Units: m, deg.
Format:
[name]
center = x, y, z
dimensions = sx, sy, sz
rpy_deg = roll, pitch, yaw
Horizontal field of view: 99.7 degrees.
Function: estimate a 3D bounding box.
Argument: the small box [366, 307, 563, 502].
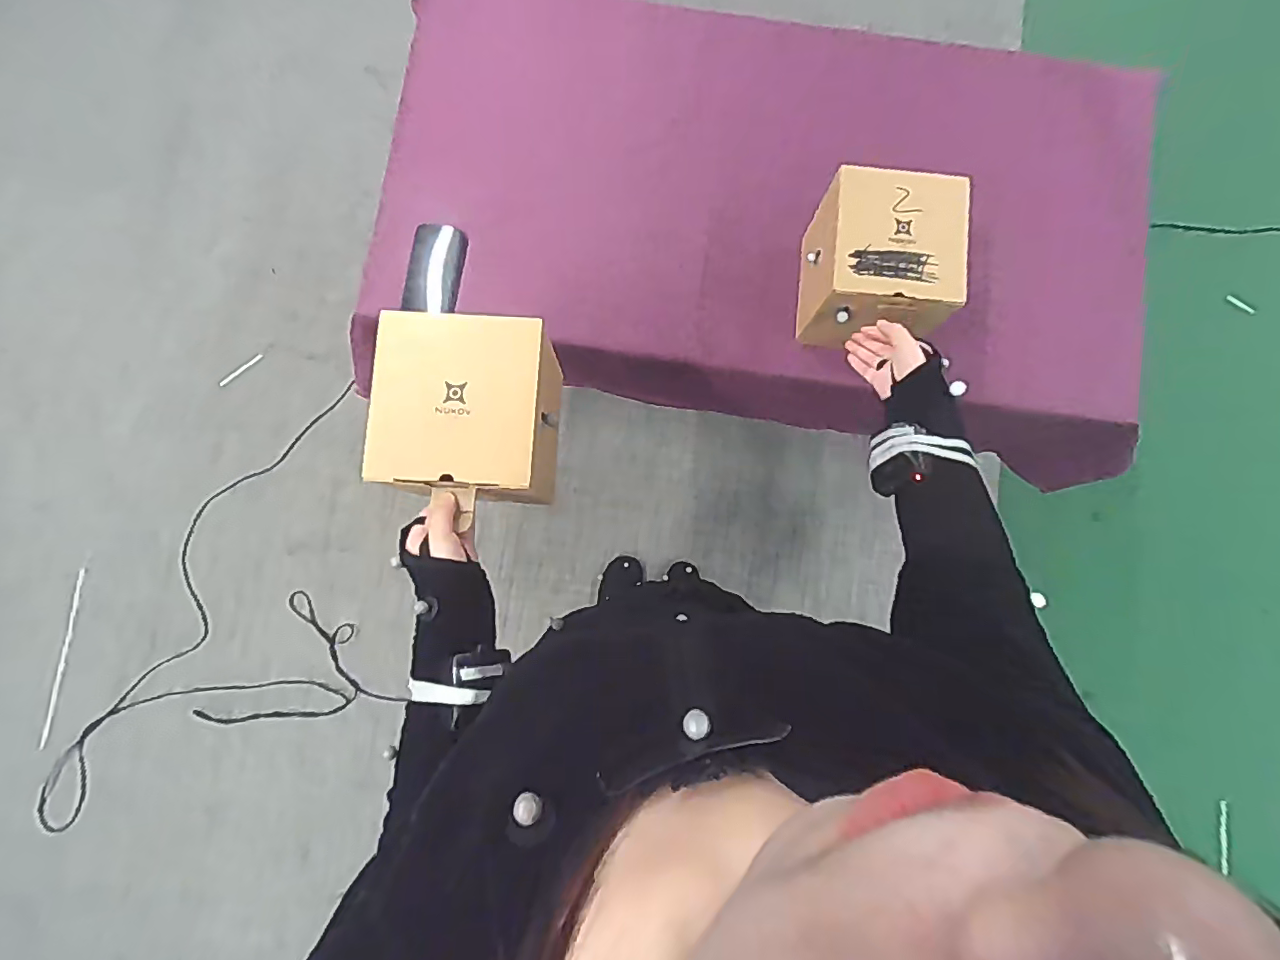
[small box]
center = -0.181, -0.073, 0.612
dimensions = 0.168, 0.176, 0.179
rpy_deg = 3, 83, -1
